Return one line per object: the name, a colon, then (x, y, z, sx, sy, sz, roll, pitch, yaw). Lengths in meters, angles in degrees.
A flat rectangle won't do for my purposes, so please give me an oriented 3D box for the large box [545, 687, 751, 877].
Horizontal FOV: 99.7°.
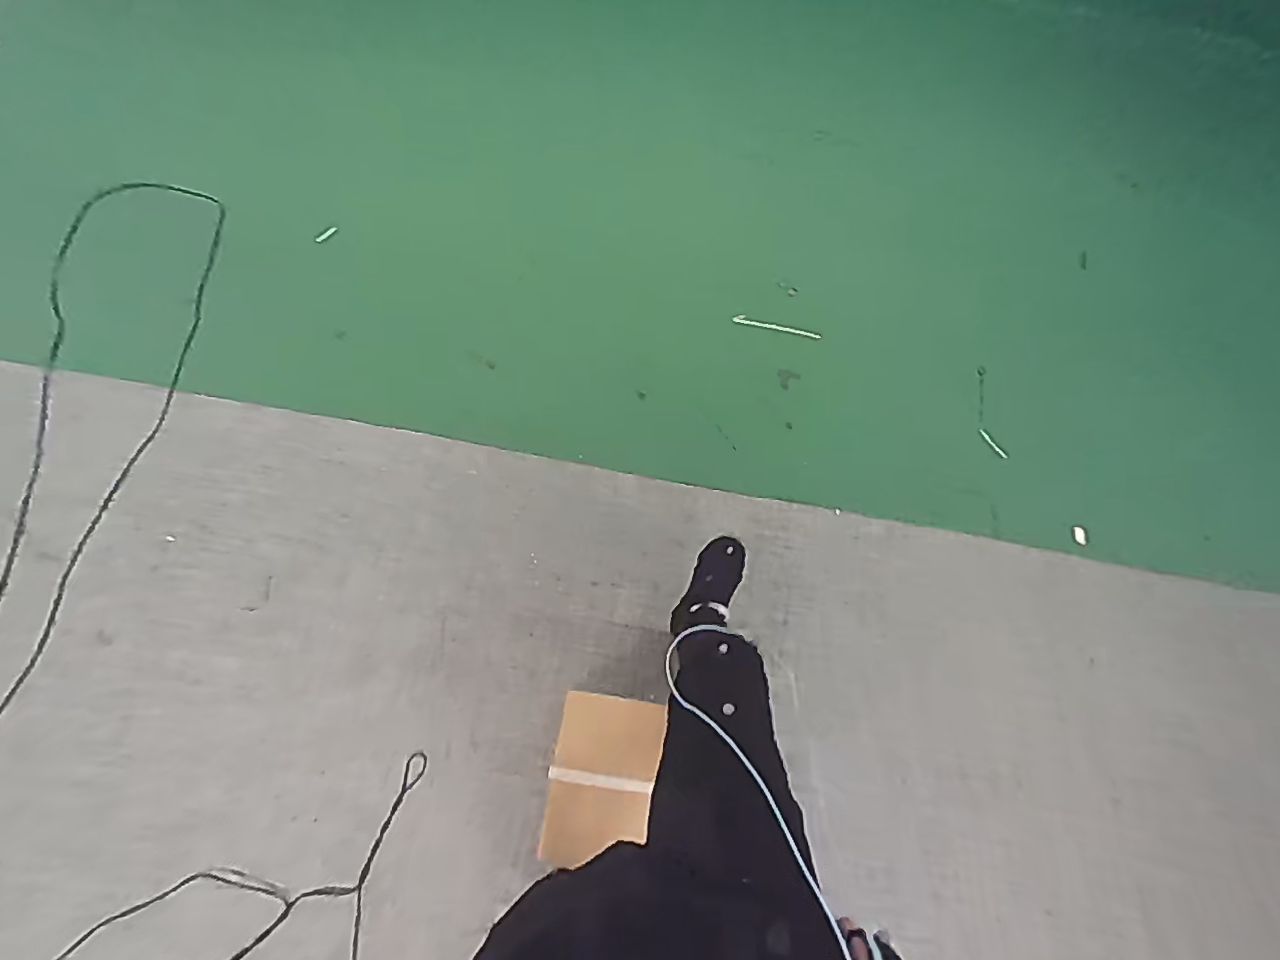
large box: (0.011, 0.667, 1.238, 0.408, 0.320, 0.320, 9, 67, -2)
